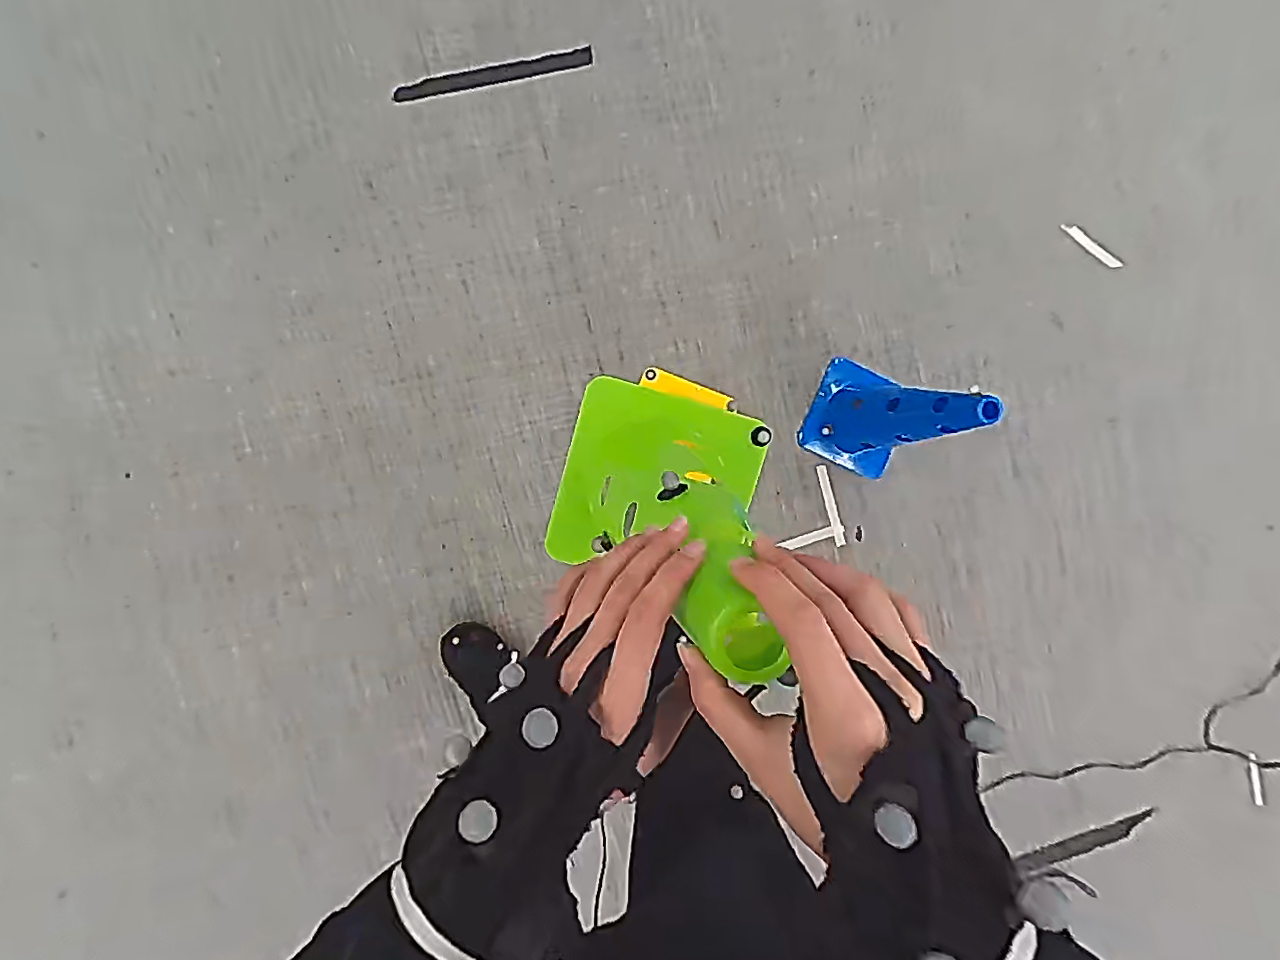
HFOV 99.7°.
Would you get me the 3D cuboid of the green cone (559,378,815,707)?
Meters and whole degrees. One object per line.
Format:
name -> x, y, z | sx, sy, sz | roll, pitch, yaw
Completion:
green cone -> 0.040, 0.040, 0.397 | 0.200, 0.368, 0.202 | 15, 99, -6
